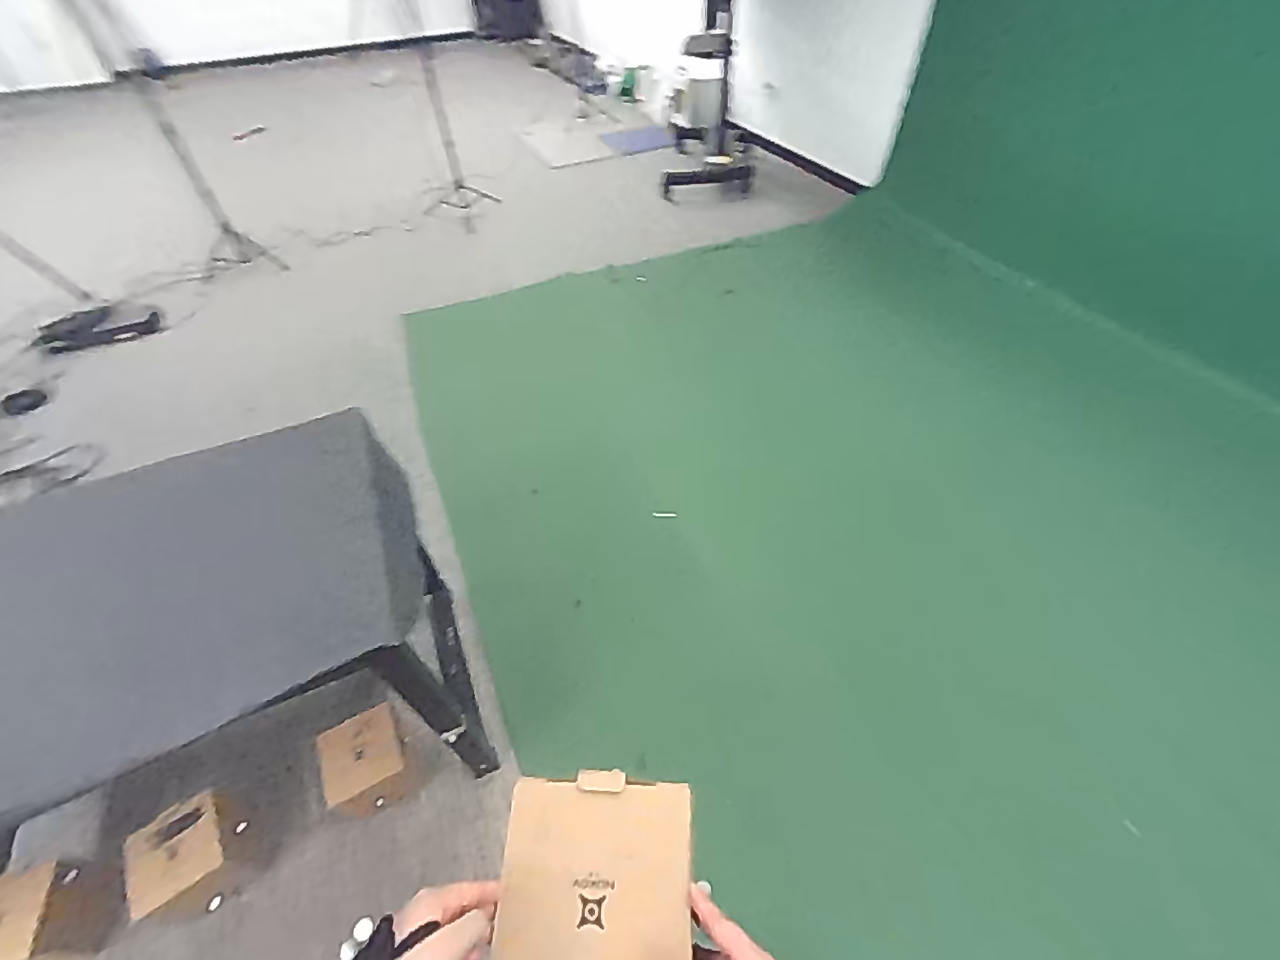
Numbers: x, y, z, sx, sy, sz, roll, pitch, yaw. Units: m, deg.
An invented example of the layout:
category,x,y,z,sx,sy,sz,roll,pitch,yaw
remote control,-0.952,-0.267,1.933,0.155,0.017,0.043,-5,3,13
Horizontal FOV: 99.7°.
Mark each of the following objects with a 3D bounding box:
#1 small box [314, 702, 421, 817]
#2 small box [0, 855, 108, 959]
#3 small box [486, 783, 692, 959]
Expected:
category,x,y,z,sx,sy,sz,roll,pitch,yaw
small box,-0.643,0.672,1.286,0.168,0.176,0.179,-23,51,-18
small box,-1.254,0.905,1.102,0.168,0.176,0.179,-16,49,-12
small box,-0.035,0.393,0.510,0.168,0.176,0.179,-1,59,5
